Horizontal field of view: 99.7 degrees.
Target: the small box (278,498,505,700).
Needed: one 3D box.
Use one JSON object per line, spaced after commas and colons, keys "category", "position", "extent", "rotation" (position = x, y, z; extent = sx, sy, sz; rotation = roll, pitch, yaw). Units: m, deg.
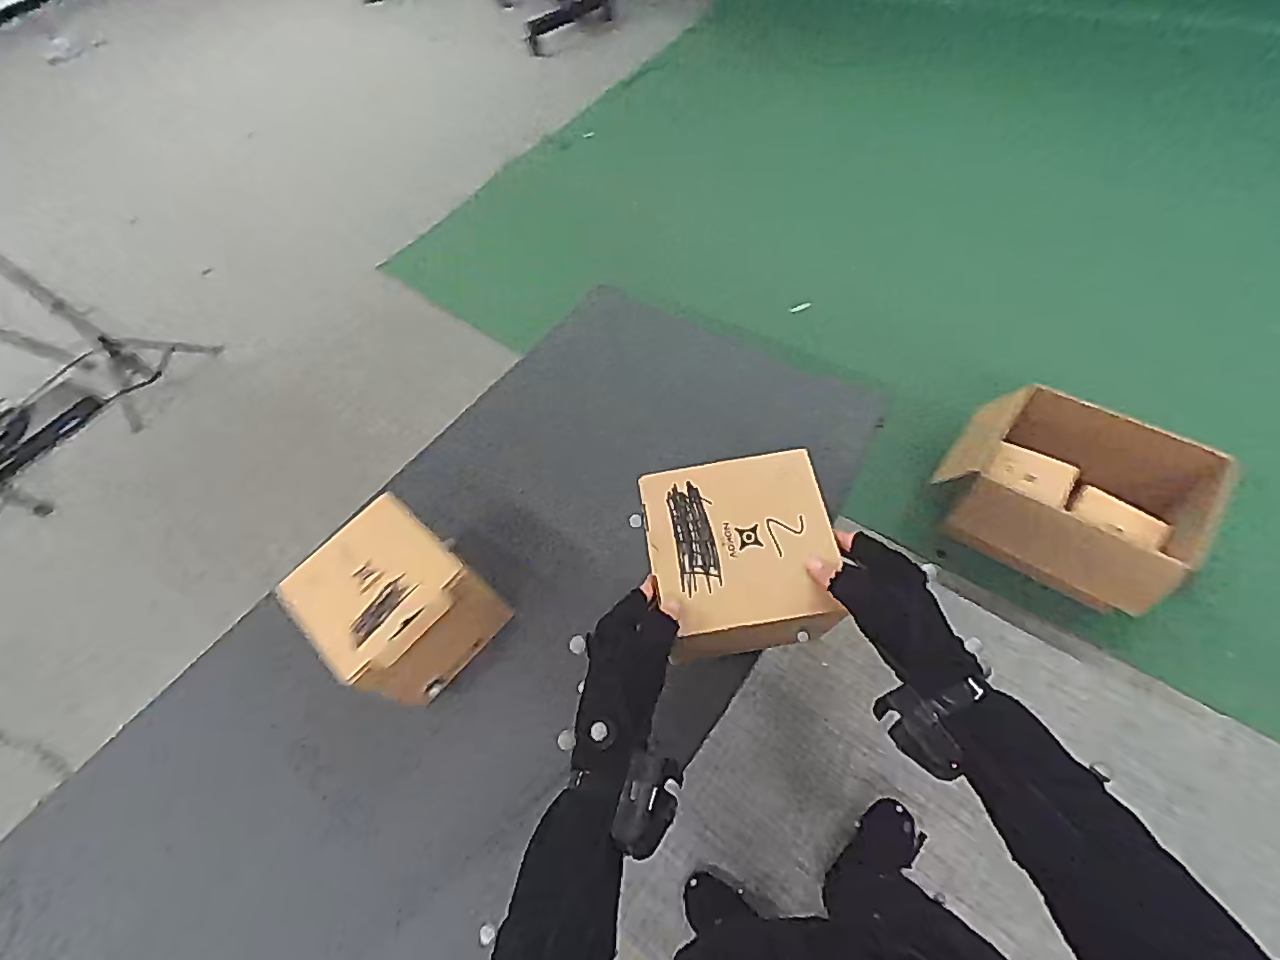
{"category": "small box", "position": [-0.306, 0.161, 0.700], "extent": [0.179, 0.176, 0.168], "rotation": [35, 70, 26]}
